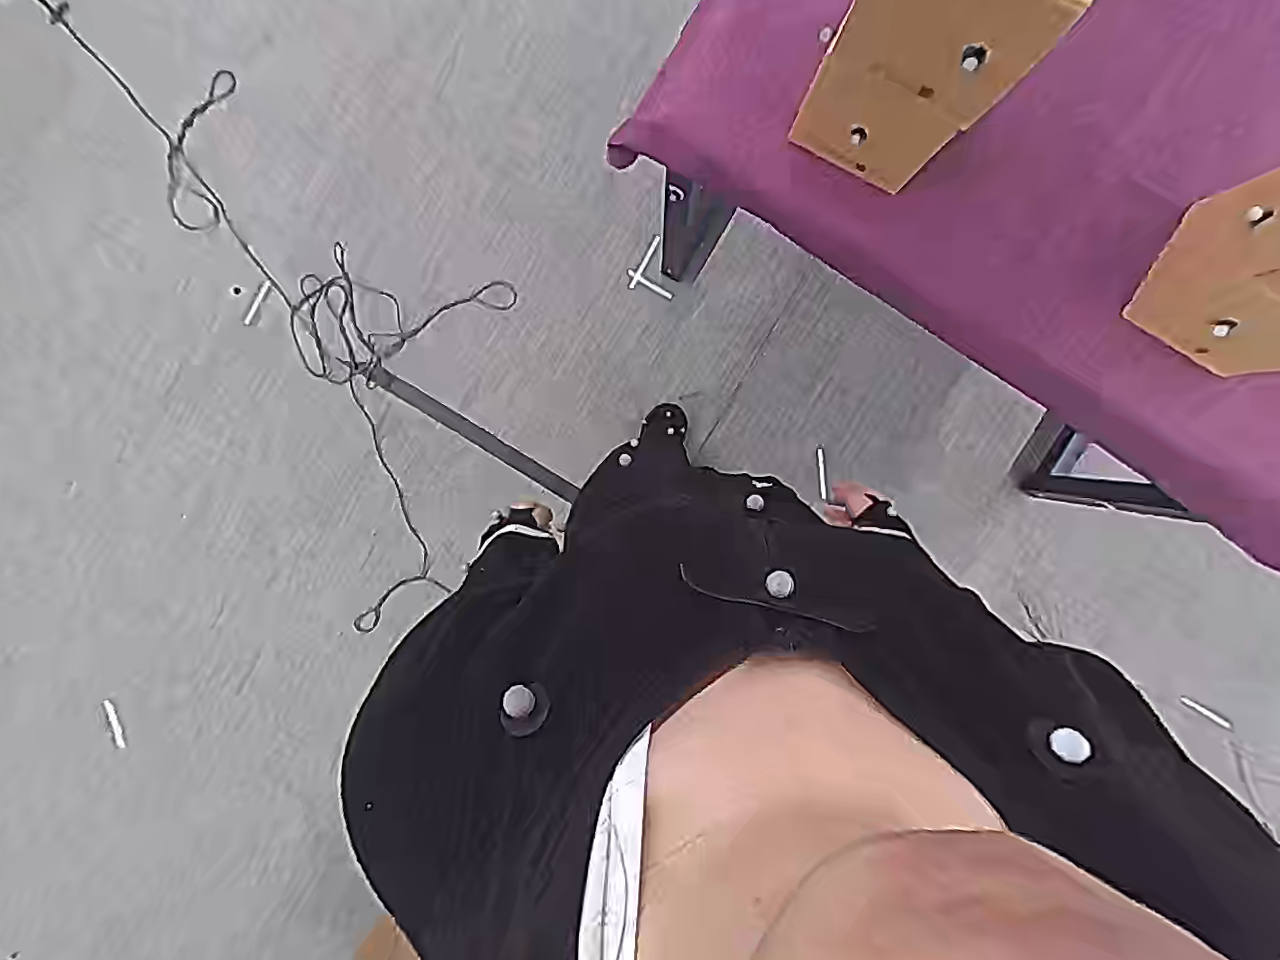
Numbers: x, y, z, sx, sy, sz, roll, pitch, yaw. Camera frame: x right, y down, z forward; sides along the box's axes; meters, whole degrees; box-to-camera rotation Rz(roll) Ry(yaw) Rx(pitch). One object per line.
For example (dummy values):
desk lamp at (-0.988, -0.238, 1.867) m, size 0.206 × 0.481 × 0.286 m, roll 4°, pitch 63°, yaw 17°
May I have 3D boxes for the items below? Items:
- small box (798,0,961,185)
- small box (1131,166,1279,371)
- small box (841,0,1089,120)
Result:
small box at (0.310, -0.496, 0.645) m, size 0.168 × 0.176 × 0.179 m, roll 27°, pitch 94°, yaw -2°
small box at (0.768, -0.252, 0.659) m, size 0.168 × 0.176 × 0.179 m, roll 31°, pitch 94°, yaw -1°
small box at (0.306, -0.476, 0.484) m, size 0.168 × 0.176 × 0.179 m, roll 25°, pitch 93°, yaw -2°
